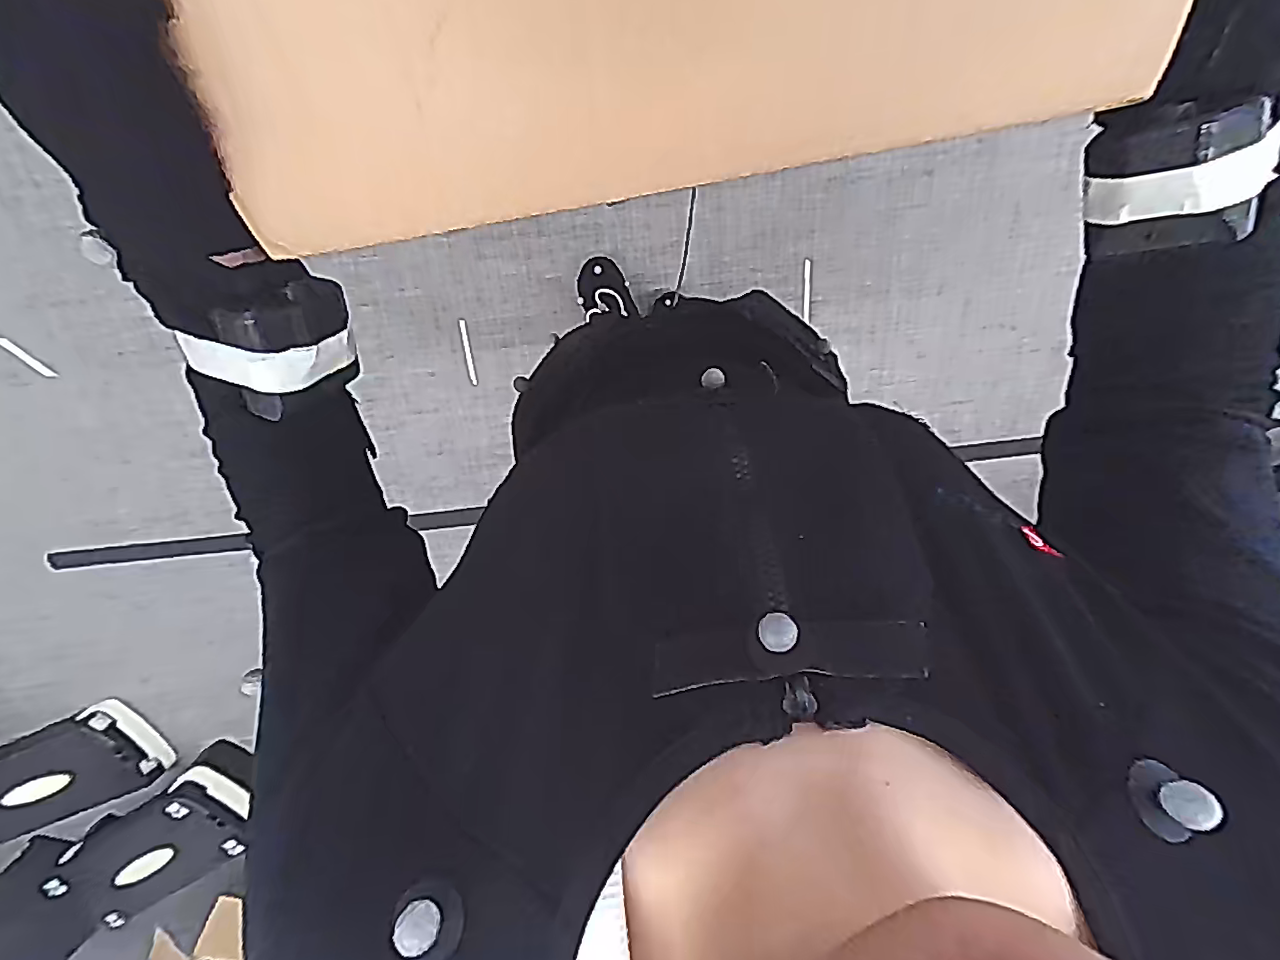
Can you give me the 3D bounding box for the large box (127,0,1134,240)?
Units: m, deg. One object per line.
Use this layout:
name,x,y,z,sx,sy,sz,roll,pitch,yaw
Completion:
large box,-0.016,-0.360,0.256,0.408,0.320,0.320,-9,133,2
